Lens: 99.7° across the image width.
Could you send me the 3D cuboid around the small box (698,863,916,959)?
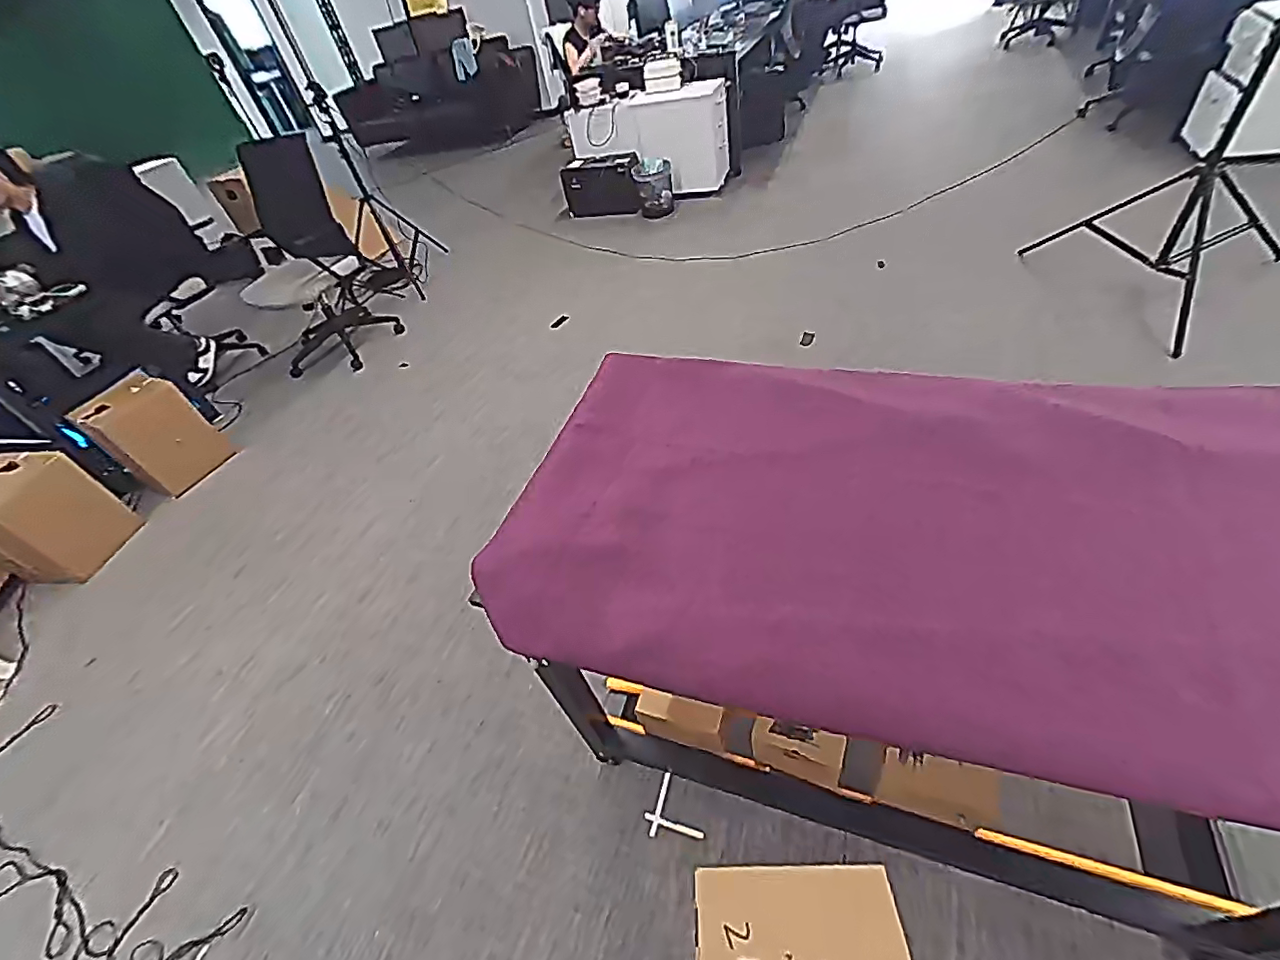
[{"bbox_3d":[0.146,0.465,0.471,0.179,0.176,0.168,-6,30,8],"label":"small box"}]
